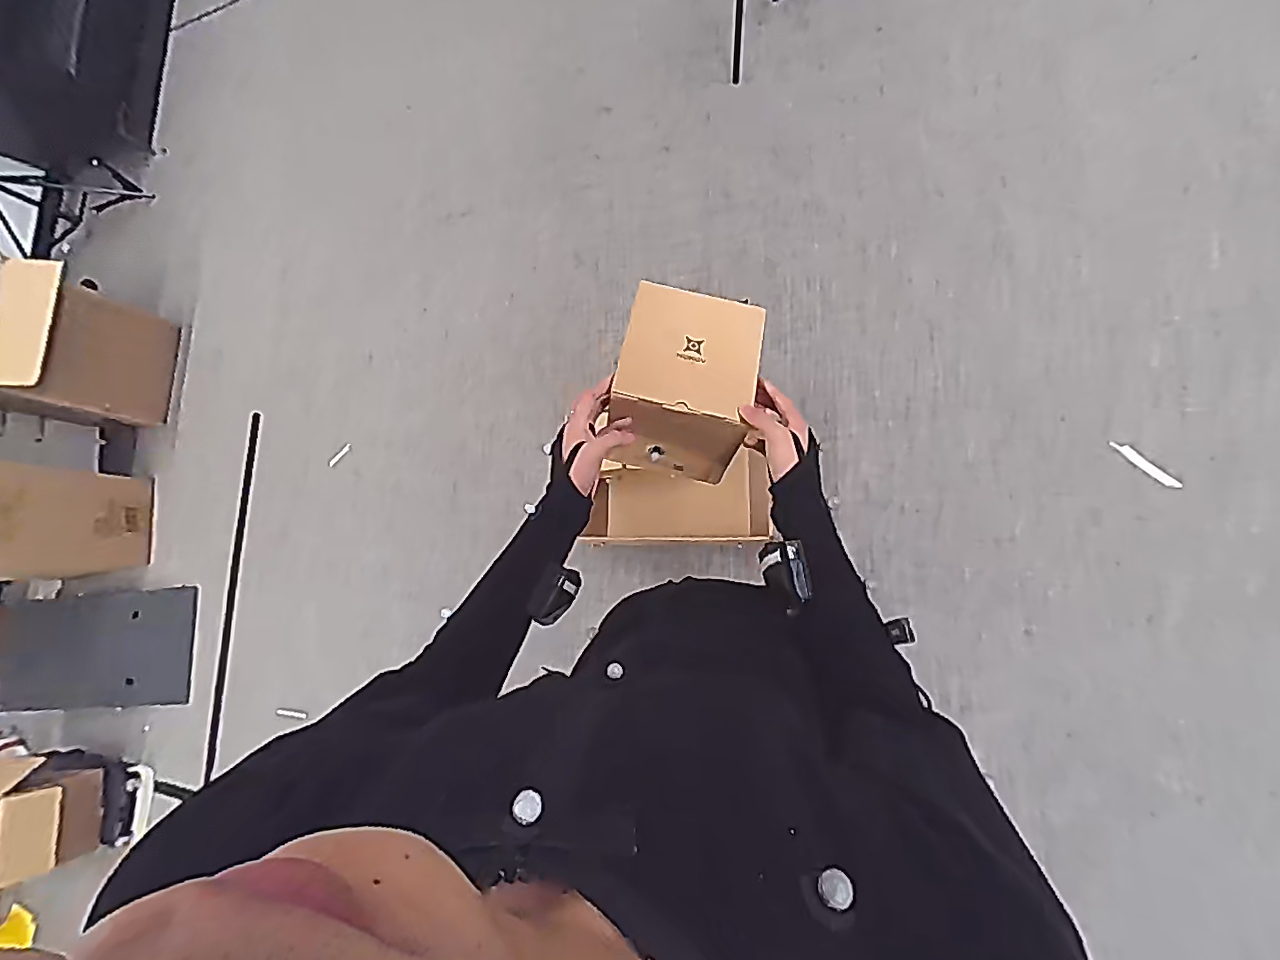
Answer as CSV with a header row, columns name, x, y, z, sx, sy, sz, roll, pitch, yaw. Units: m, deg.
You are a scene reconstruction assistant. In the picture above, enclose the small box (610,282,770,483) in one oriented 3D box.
name,x,y,z,sx,sy,sz,roll,pitch,yaw
small box,0.058,-0.120,0.712,0.168,0.176,0.179,13,66,-1
